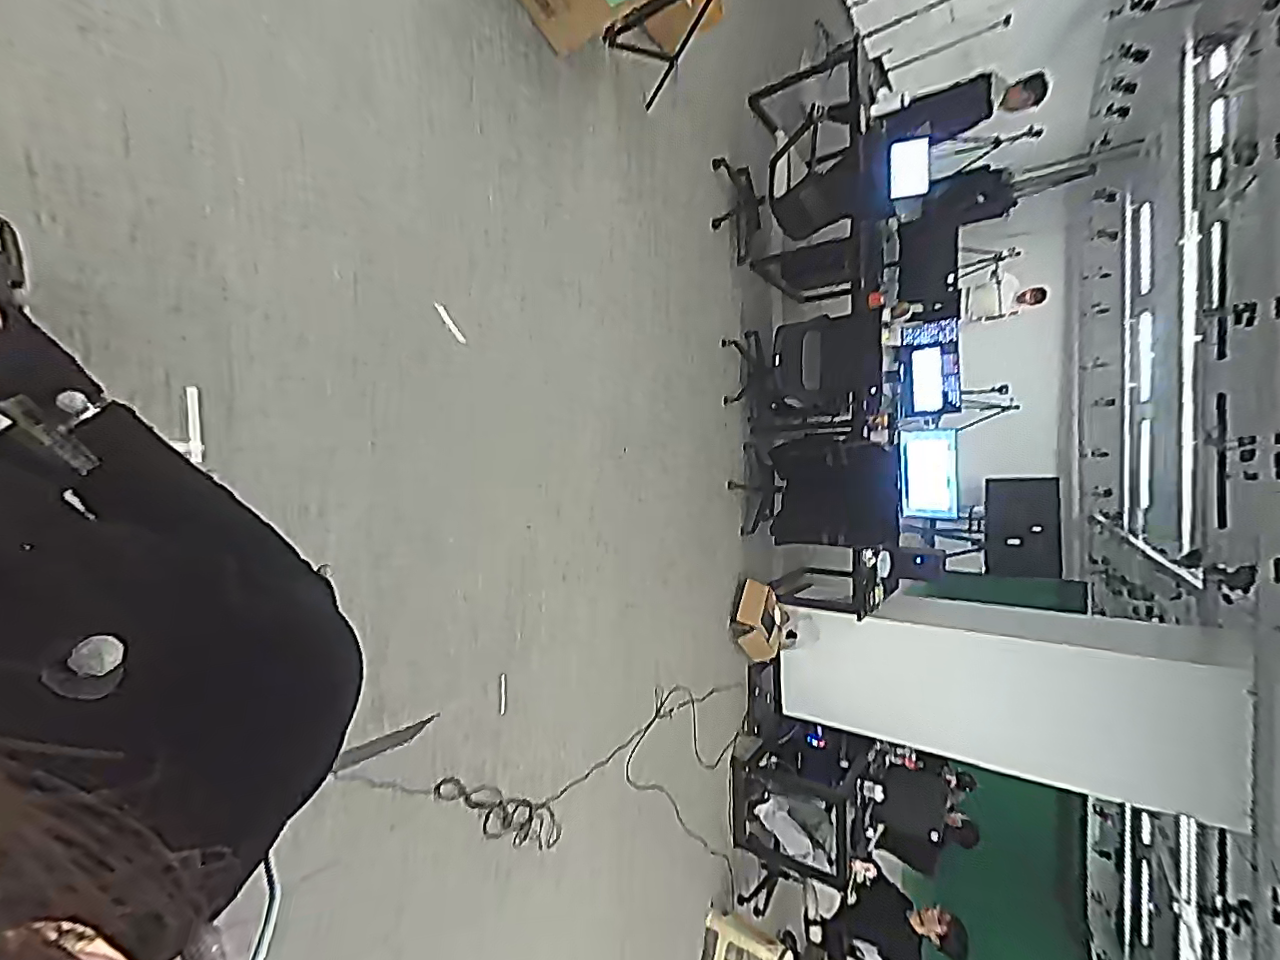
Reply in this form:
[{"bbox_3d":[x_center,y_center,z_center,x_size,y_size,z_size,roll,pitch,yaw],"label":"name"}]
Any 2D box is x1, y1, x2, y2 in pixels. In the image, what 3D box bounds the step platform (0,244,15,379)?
[{"bbox_3d":[-1.303,-0.290,0.676,0.684,0.204,0.286,9,83,-53],"label":"step platform"}]
